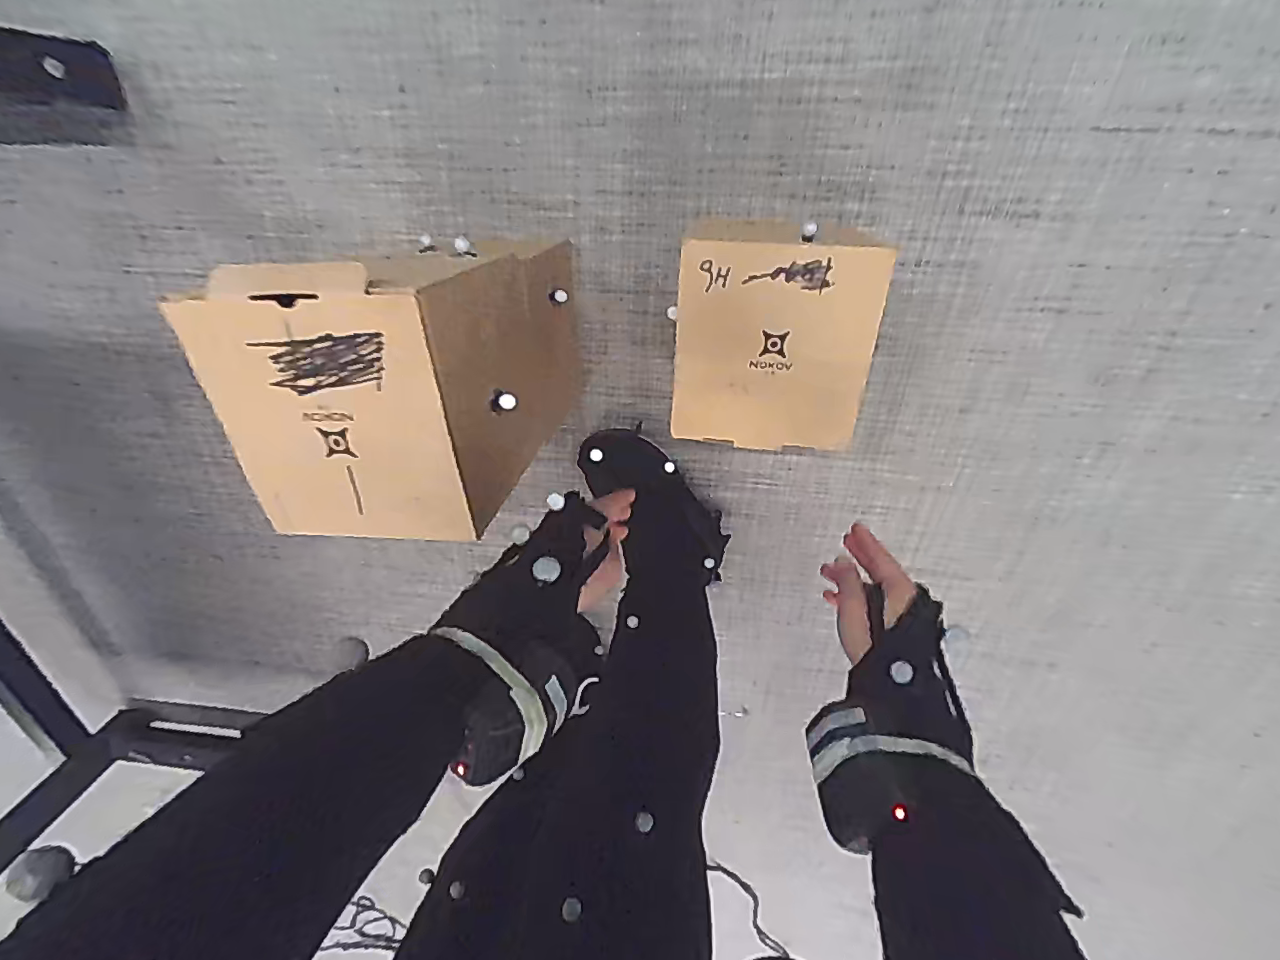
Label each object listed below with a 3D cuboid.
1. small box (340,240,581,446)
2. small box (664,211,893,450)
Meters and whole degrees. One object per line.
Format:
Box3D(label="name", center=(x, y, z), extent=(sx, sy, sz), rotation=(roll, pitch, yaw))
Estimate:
Box3D(label="small box", center=(-0.165, -0.150, 0.564), extent=(0.168, 0.176, 0.179), rotation=(2, 120, 8))
Box3D(label="small box", center=(0.117, -0.151, 0.524), extent=(0.168, 0.176, 0.179), rotation=(5, 122, 4))
